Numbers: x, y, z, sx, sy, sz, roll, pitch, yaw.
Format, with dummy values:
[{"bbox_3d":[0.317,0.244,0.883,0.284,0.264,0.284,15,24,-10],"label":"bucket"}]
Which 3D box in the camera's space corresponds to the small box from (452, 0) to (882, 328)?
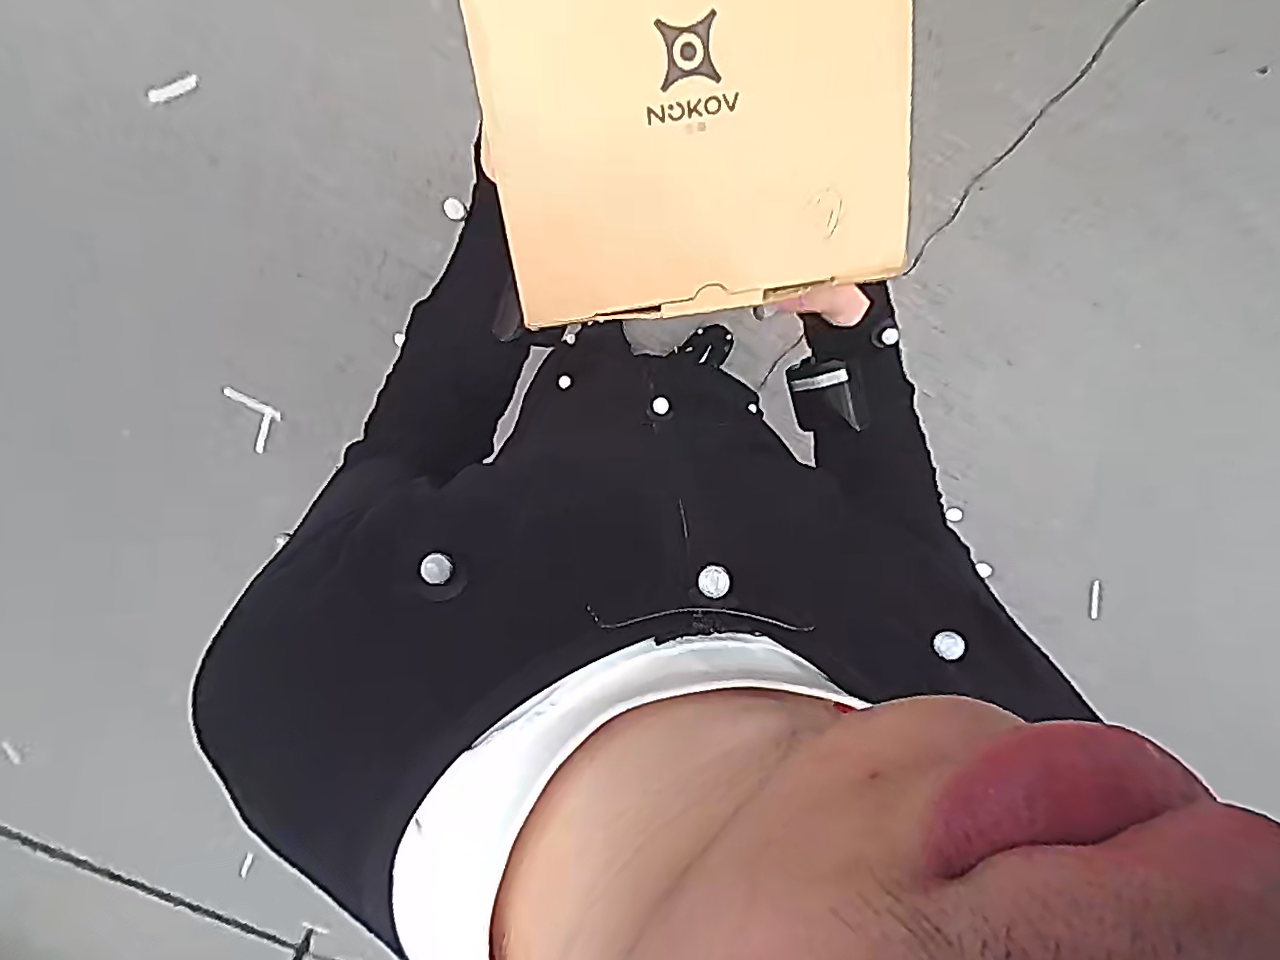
[{"bbox_3d":[0.016,-0.190,0.292,0.168,0.176,0.179,-9,109,5],"label":"small box"}]
